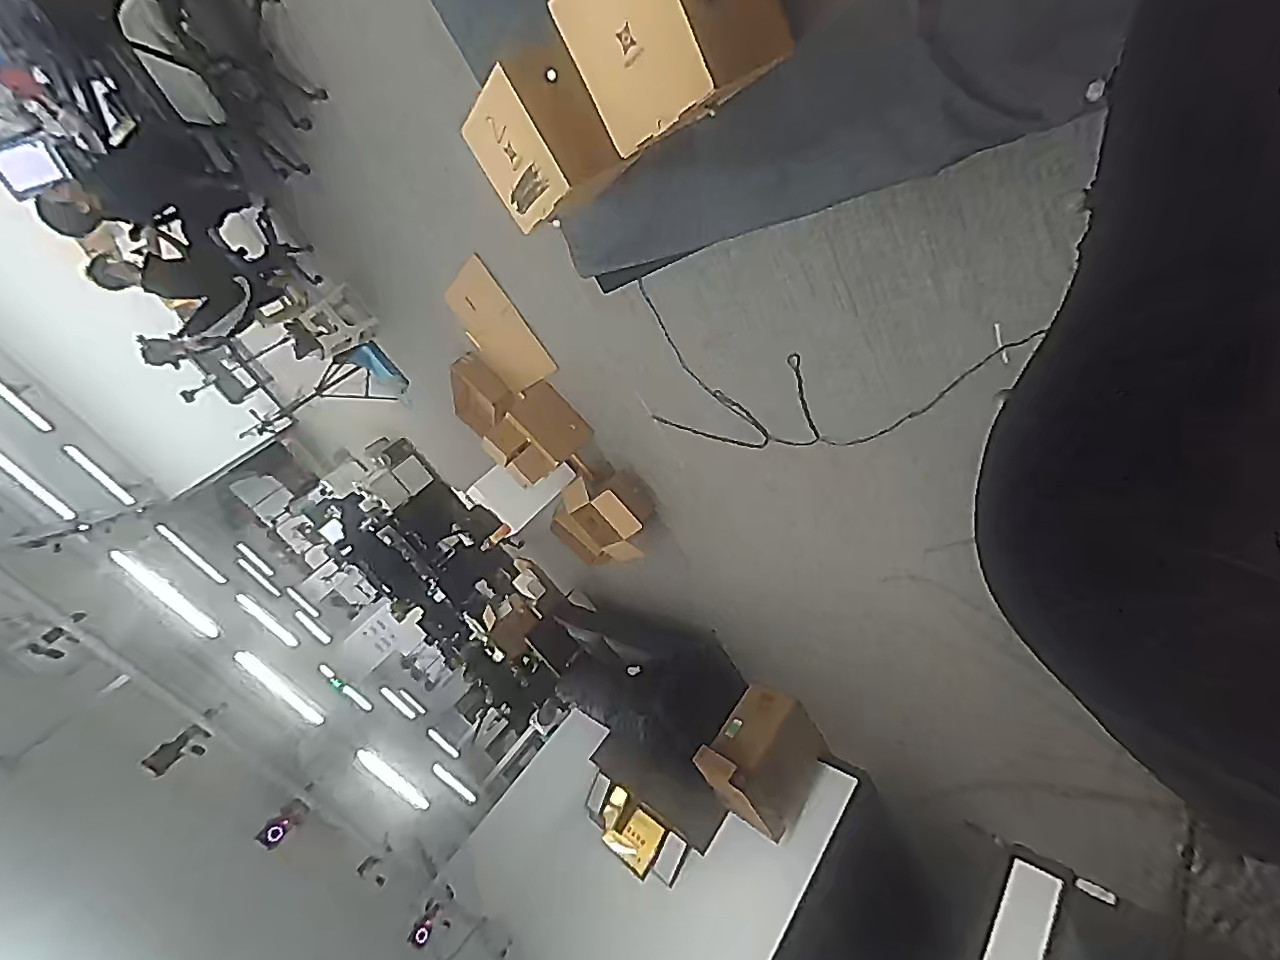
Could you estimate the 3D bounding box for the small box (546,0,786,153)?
[{"bbox_3d":[0.034,-0.520,0.612,0.168,0.176,0.179,2,132,51],"label":"small box"}]
